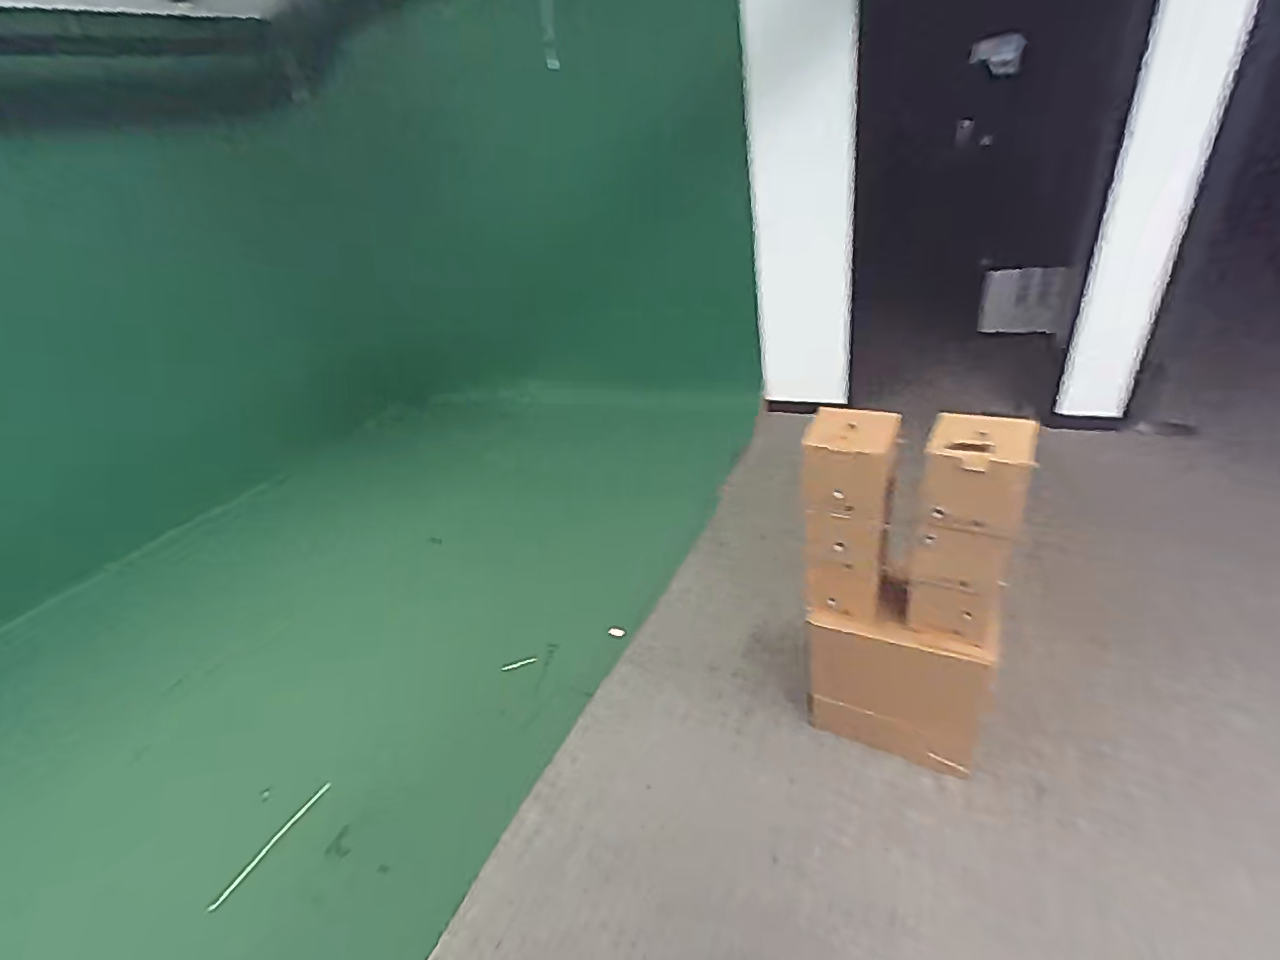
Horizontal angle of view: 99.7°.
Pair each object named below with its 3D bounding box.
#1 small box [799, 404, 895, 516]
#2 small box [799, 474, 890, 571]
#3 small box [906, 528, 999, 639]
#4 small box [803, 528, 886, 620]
[{"bbox_3d":[0.454,-0.048,1.192,0.168,0.176,0.179,9,39,30],"label":"small box"},{"bbox_3d":[0.485,0.090,1.279,0.168,0.176,0.179,10,40,29],"label":"small box"},{"bbox_3d":[0.728,0.242,1.266,0.168,0.176,0.179,10,38,32],"label":"small box"},{"bbox_3d":[0.517,0.221,1.372,0.168,0.176,0.179,9,39,28],"label":"small box"}]
